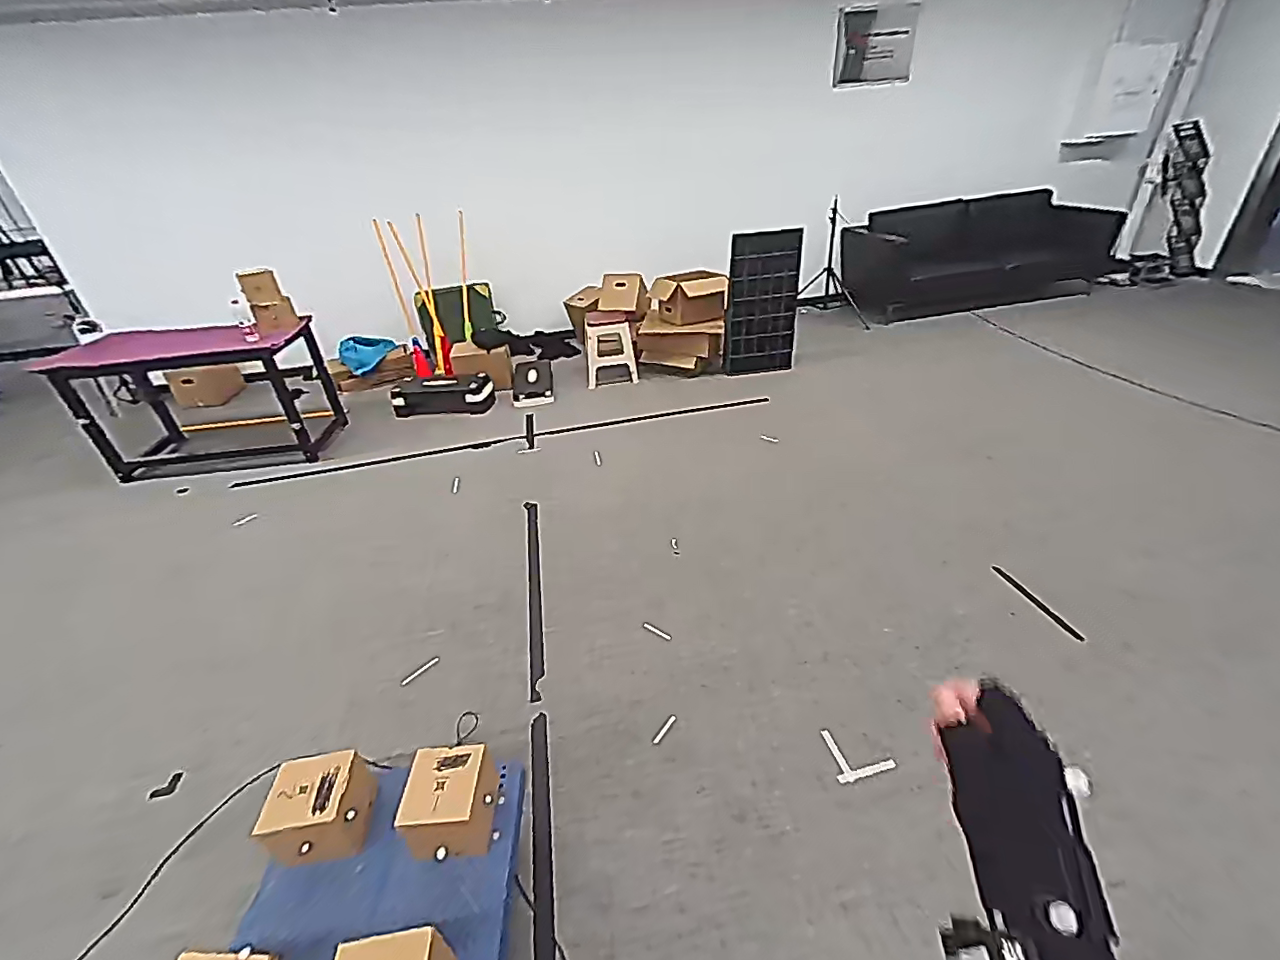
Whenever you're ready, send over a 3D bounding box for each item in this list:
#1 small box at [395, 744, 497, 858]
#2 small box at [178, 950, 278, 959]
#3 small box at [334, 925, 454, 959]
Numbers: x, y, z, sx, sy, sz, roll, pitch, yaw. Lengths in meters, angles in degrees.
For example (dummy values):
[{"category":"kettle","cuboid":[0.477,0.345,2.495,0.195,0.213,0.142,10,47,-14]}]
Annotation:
[{"category":"small box","cuboid":[-0.443,0.752,1.271,0.168,0.176,0.179,-4,34,1]},{"category":"small box","cuboid":[-0.756,0.976,0.963,0.179,0.176,0.168,-1,32,3]},{"category":"small box","cuboid":[-0.450,0.946,0.969,0.179,0.176,0.168,-8,33,-4]}]
